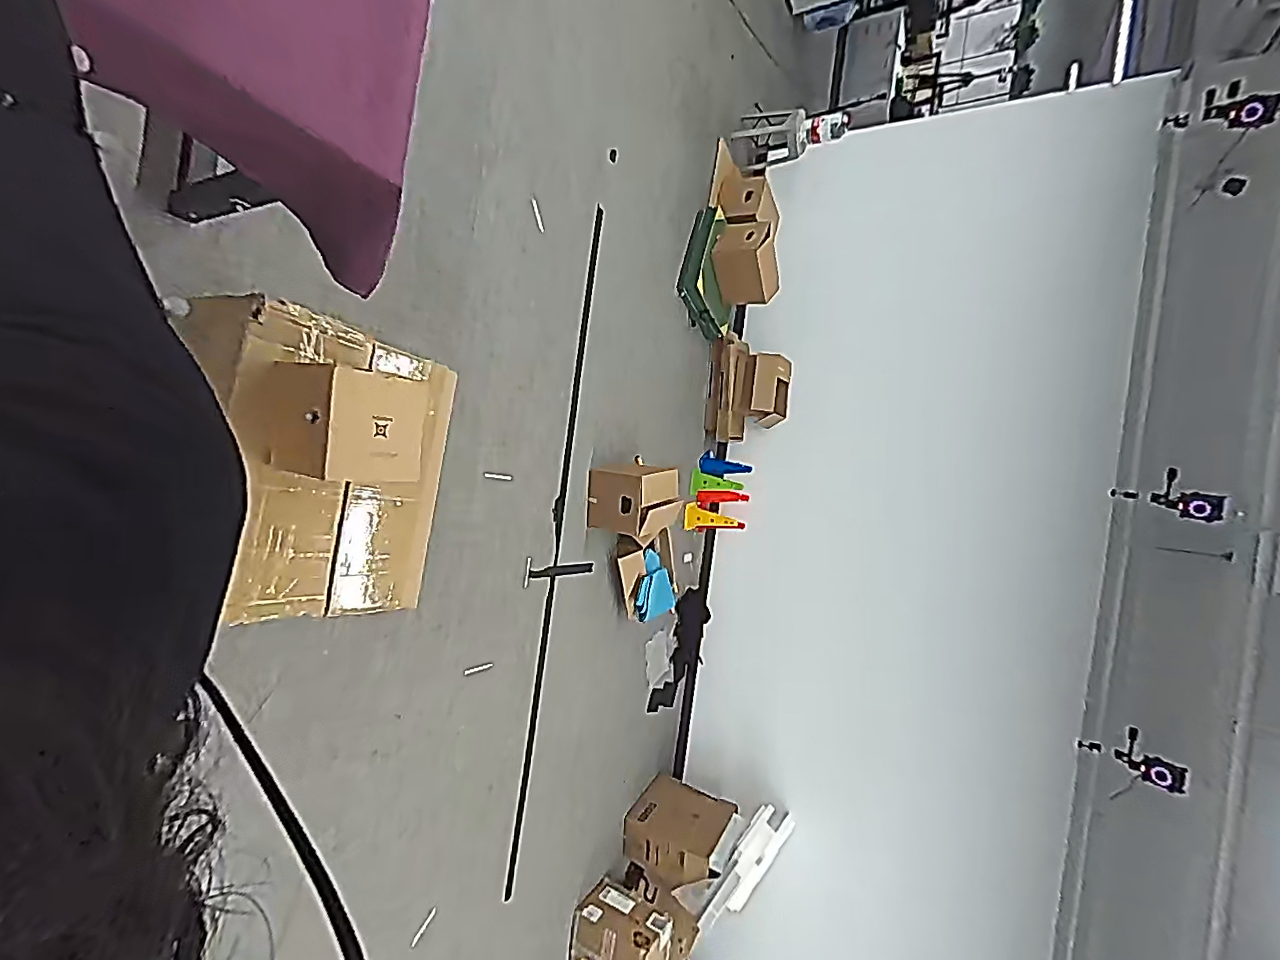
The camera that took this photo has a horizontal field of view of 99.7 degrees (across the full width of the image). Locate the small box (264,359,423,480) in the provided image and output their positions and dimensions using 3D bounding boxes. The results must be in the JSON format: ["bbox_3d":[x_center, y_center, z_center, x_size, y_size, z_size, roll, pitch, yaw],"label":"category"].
[{"bbox_3d":[-0.487,-0.098,0.890,0.168,0.176,0.179,2,97,-59],"label":"small box"}]
